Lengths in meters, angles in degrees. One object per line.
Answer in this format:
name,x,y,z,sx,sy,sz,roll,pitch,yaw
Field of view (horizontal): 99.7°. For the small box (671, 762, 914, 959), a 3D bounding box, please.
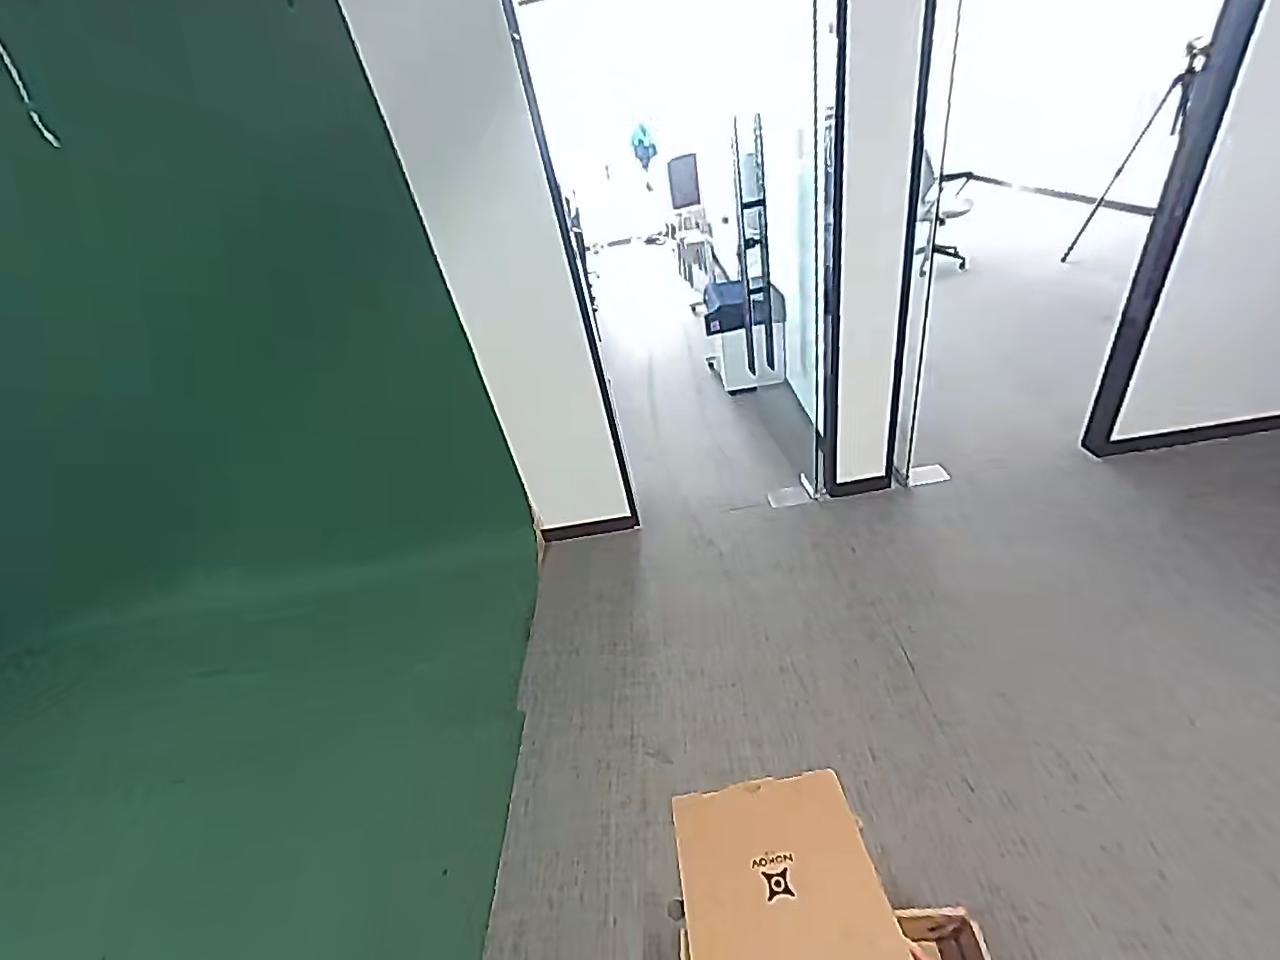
small box,0.130,0.400,0.489,0.168,0.176,0.179,-11,26,1
